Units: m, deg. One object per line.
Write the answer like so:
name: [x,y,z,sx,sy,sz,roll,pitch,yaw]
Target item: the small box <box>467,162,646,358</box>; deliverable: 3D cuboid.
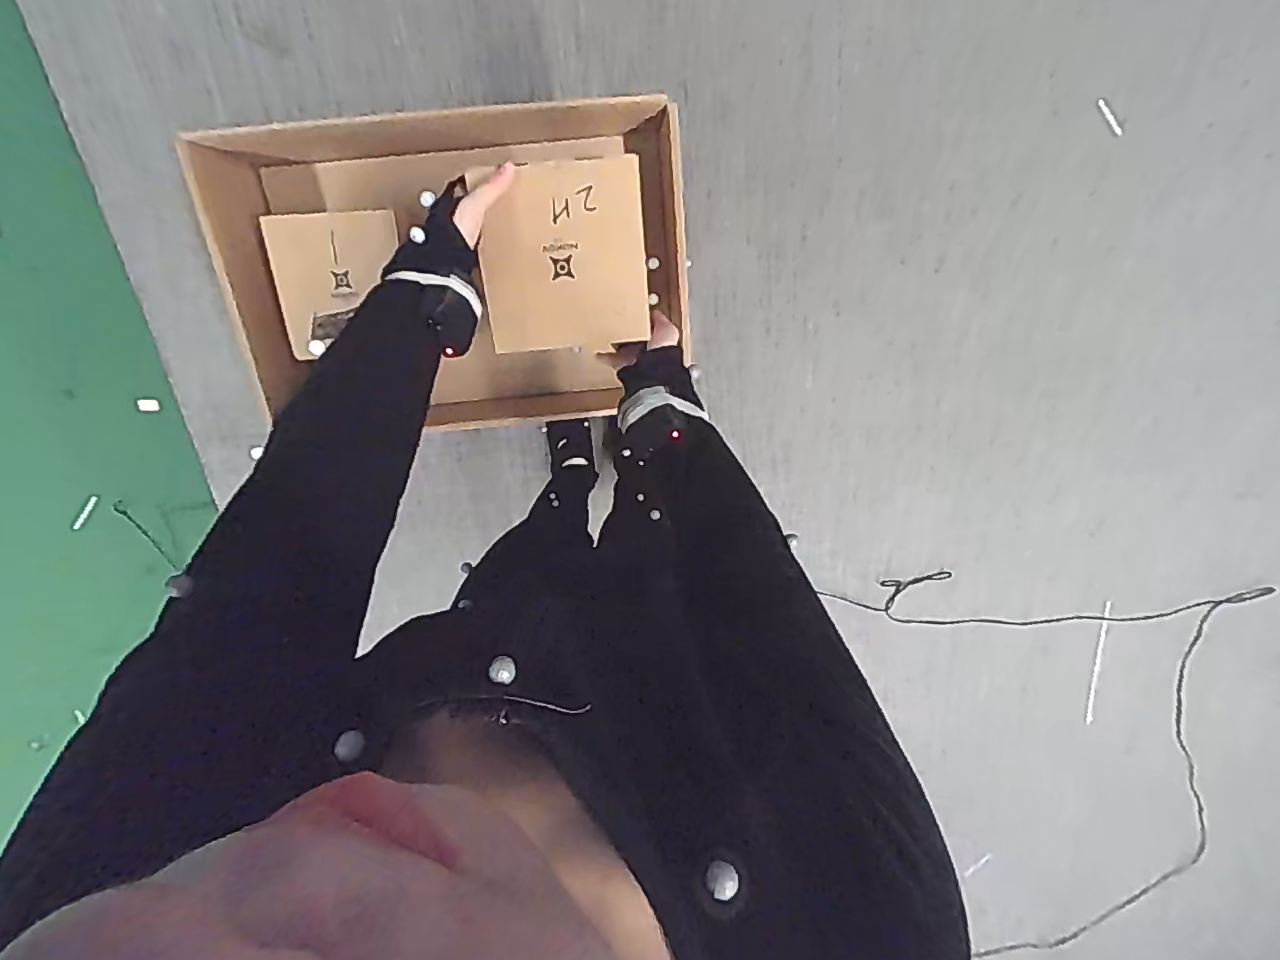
small box: [-0.080,-0.242,0.615,0.168,0.176,0.179,-4,109,0]
